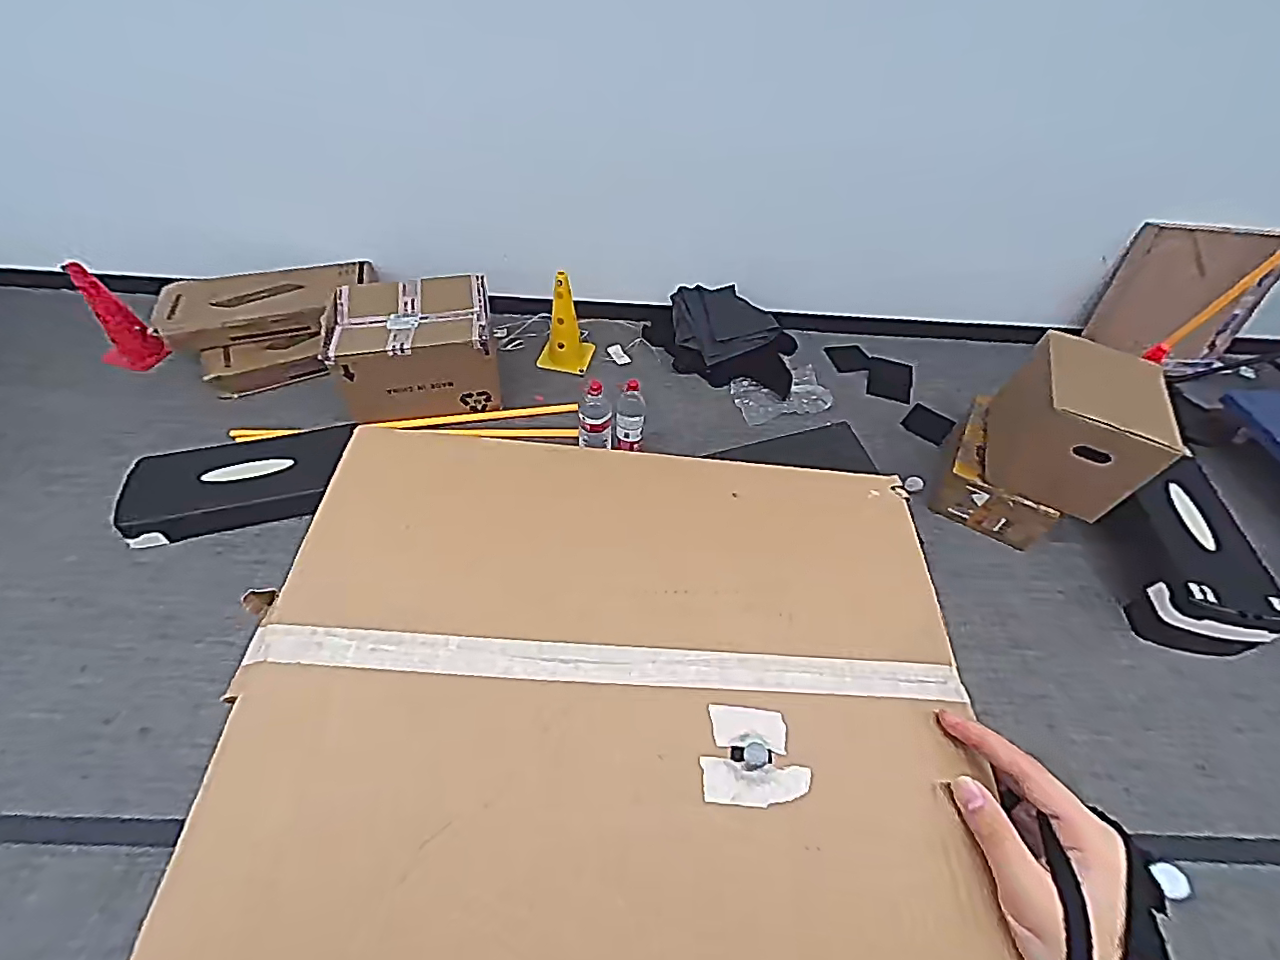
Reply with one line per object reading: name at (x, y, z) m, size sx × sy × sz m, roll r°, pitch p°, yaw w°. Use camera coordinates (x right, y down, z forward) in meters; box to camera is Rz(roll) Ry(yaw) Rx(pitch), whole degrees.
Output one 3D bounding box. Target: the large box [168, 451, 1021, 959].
large box at (-0.025, 0.204, 0.443) m, size 0.408 × 0.320 × 0.320 m, roll 6°, pitch 55°, yaw -5°
